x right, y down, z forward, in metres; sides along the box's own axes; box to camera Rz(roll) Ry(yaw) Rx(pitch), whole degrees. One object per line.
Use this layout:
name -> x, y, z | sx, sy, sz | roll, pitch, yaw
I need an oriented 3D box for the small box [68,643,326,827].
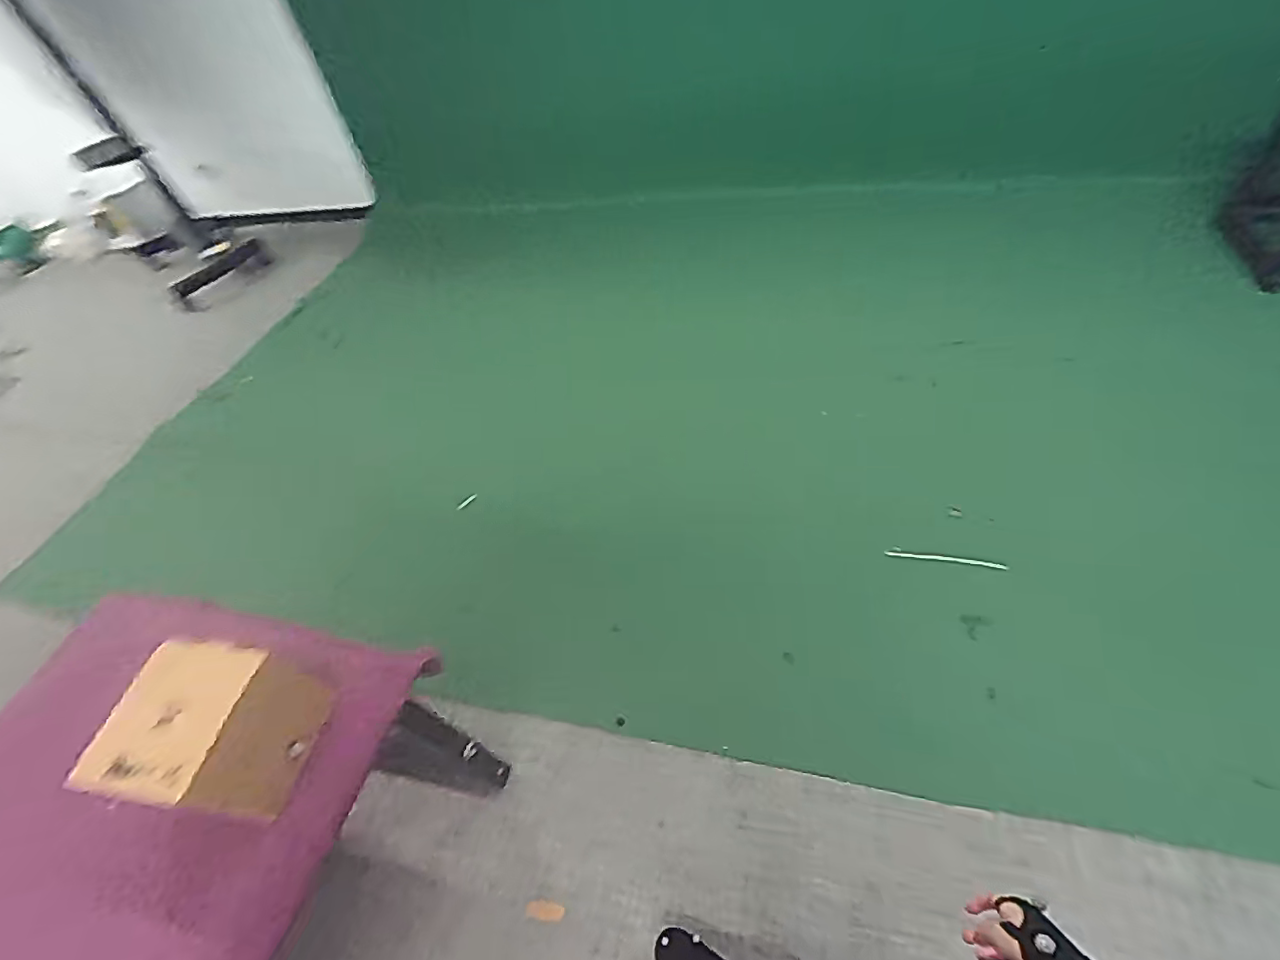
small box -> -0.565, 0.342, 0.726 | 0.168, 0.176, 0.179 | 2, 52, 12
